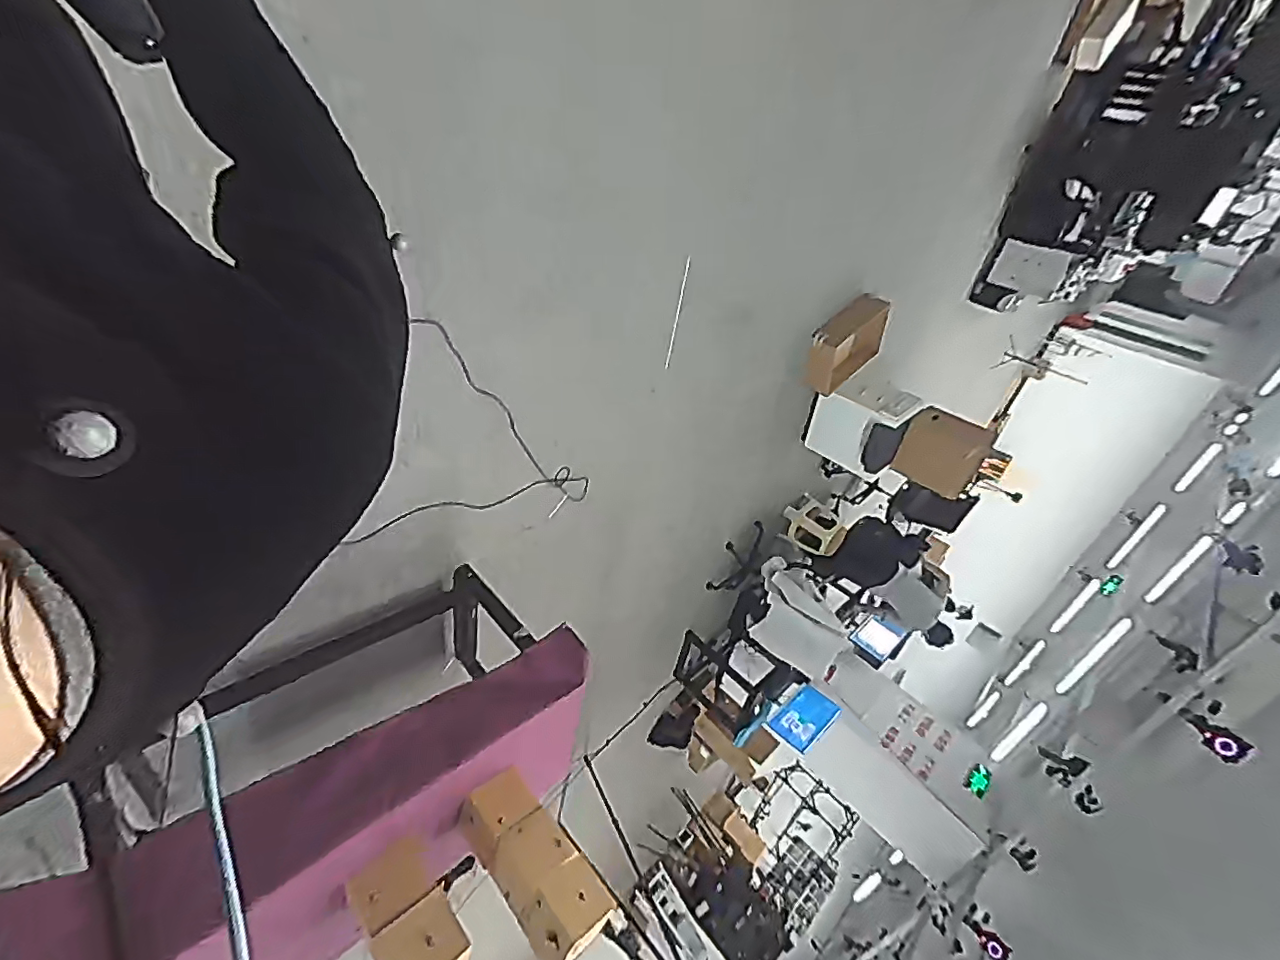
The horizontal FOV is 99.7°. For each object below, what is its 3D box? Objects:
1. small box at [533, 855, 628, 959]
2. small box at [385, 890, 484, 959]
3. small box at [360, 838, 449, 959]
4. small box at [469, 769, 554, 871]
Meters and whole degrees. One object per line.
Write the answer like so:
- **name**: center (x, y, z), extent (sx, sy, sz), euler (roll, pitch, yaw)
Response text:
- **small box**: center (-0.171, 1.215, 1.518), extent (0.179, 0.176, 0.168), euler (0, 120, -52)
- **small box**: center (-0.520, 1.198, 1.365), extent (0.179, 0.176, 0.168), euler (-18, 132, -44)
- **small box**: center (-0.635, 1.123, 1.454), extent (0.179, 0.176, 0.168), euler (-20, 135, -42)
- **small box**: center (-0.402, 1.044, 1.679), extent (0.179, 0.176, 0.168), euler (-9, 126, -47)
